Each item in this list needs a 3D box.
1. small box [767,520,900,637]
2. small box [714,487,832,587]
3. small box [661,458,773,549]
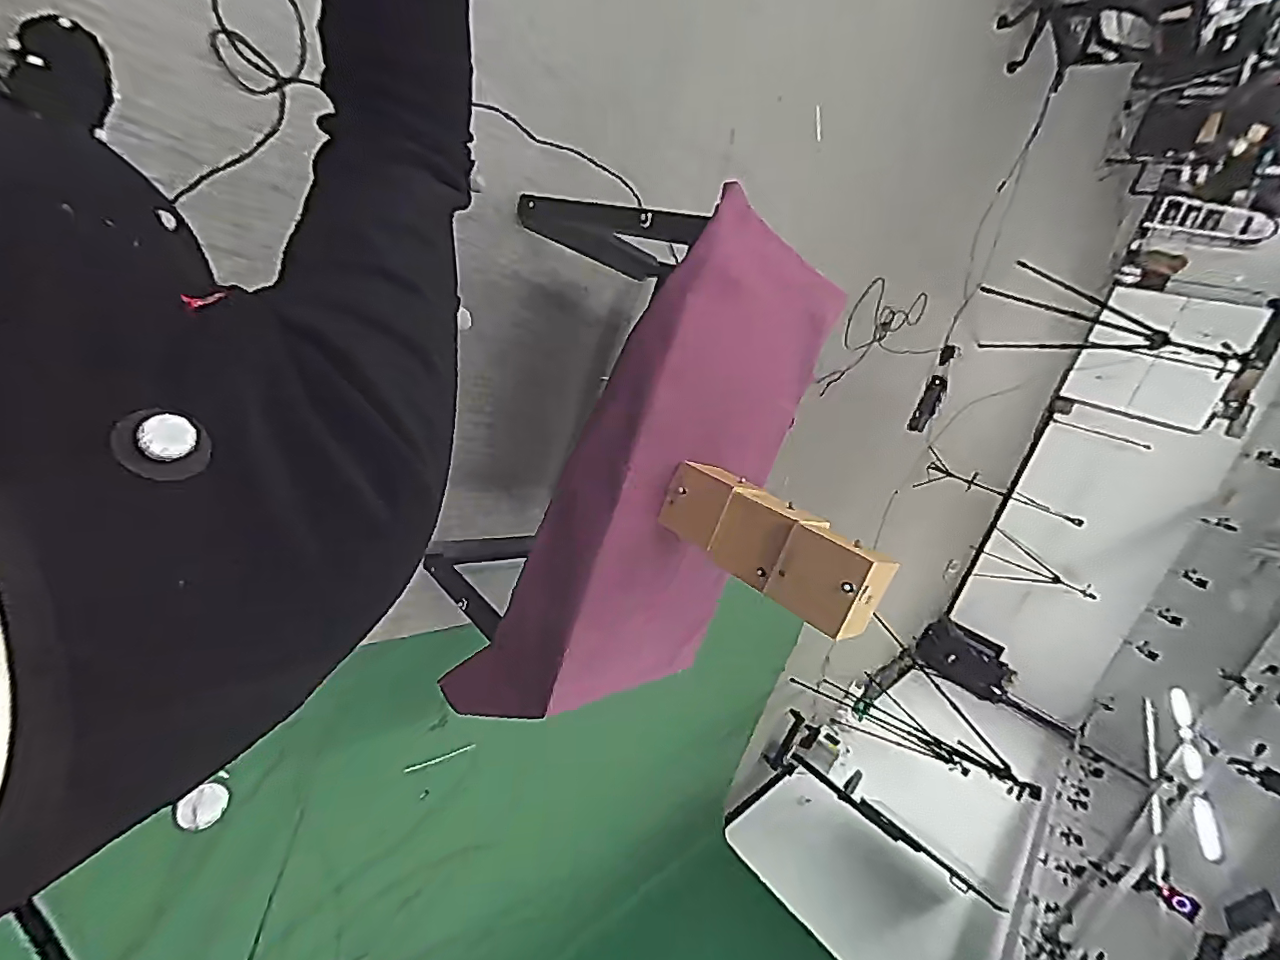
[{"bbox_3d":[0.389,0.191,1.092,0.179,0.176,0.168,11,105,-51],"label":"small box"},{"bbox_3d":[0.293,0.128,1.211,0.168,0.176,0.179,7,108,-49],"label":"small box"},{"bbox_3d":[0.184,0.057,1.308,0.179,0.176,0.168,10,105,-49],"label":"small box"}]
